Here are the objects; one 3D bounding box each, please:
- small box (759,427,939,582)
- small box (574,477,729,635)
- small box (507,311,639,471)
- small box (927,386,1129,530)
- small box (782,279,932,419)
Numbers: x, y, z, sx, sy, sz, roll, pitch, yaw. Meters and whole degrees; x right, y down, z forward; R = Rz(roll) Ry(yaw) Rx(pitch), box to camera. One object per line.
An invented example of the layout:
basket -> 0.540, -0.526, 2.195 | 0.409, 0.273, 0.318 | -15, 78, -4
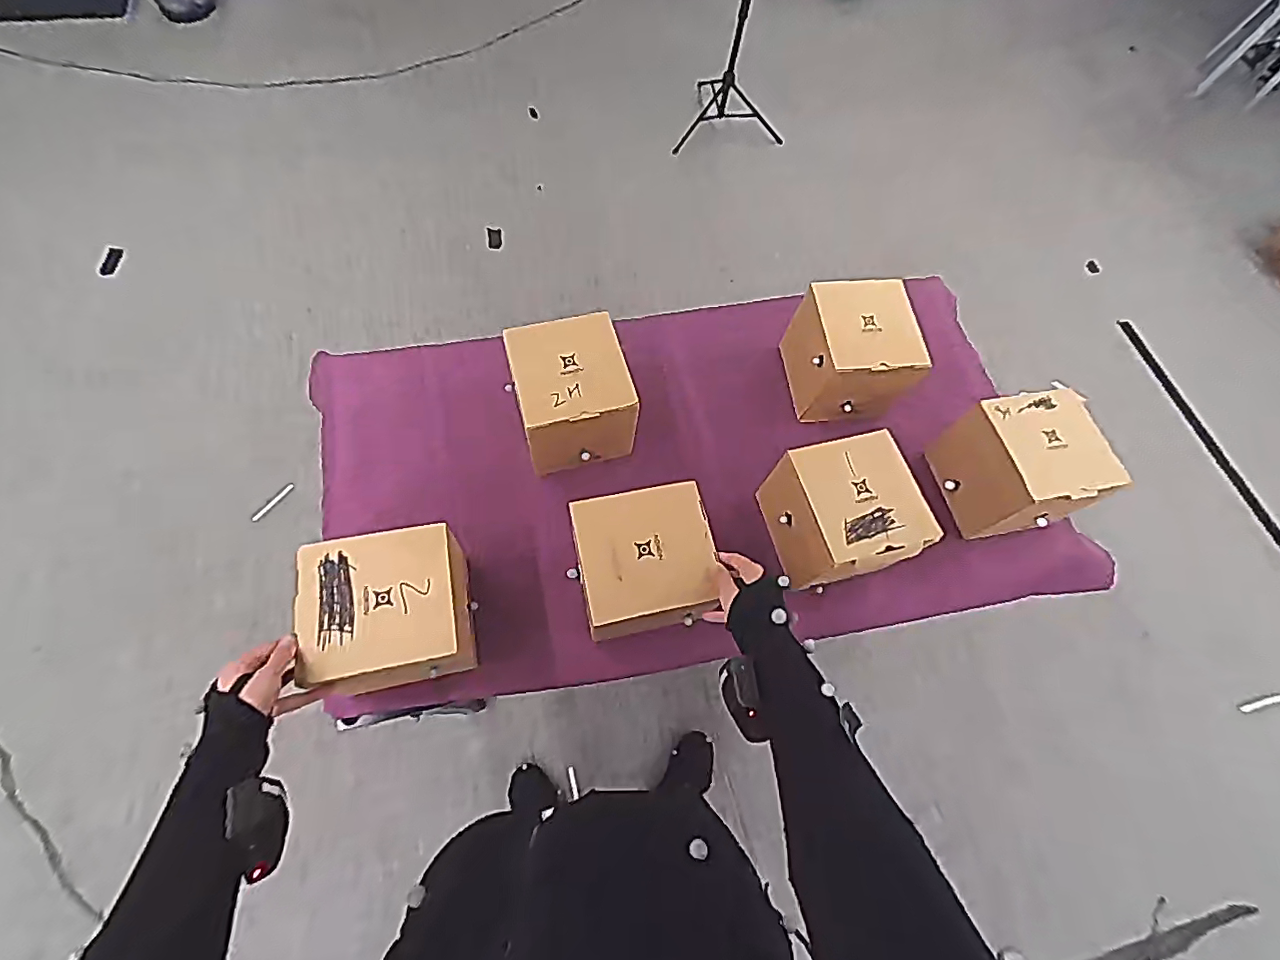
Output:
small box -> 0.302, 0.047, 0.823 | 0.168, 0.176, 0.179 | -12, 67, -10
small box -> 0.005, 0.113, 0.768 | 0.179, 0.176, 0.168 | -10, 68, -9
small box -> -0.108, -0.138, 0.869 | 0.168, 0.176, 0.179 | -14, 69, -11
small box -> 0.611, -0.026, 0.879 | 0.168, 0.176, 0.179 | -8, 66, -8
small box -> 0.366, -0.226, 0.950 | 0.168, 0.176, 0.179 | -5, 69, -7
